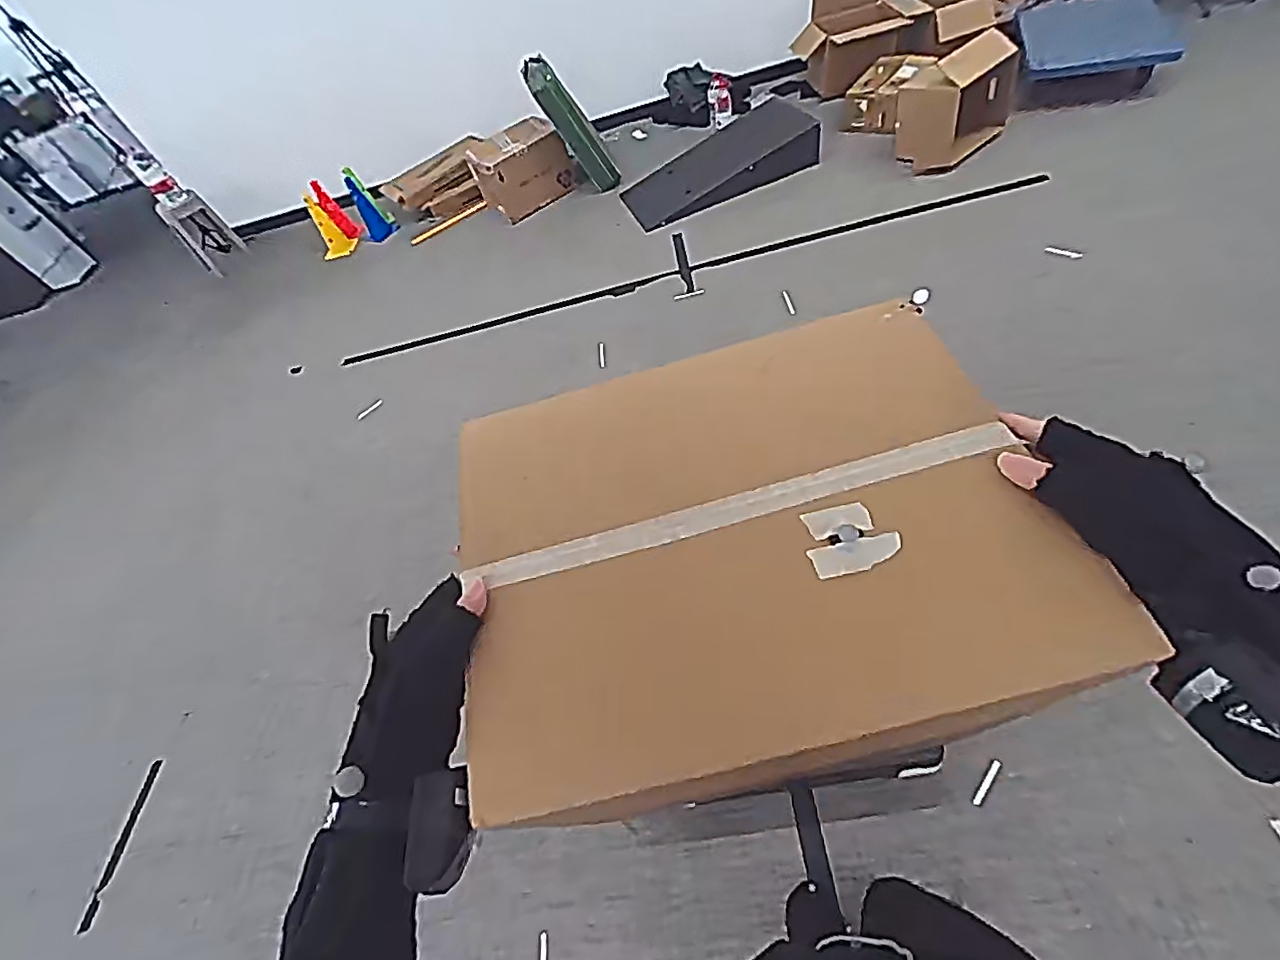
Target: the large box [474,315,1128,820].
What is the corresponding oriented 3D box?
[{"bbox_3d":[0.094,0.106,0.529,0.408,0.320,0.320,-16,57,2],"label":"large box"}]
